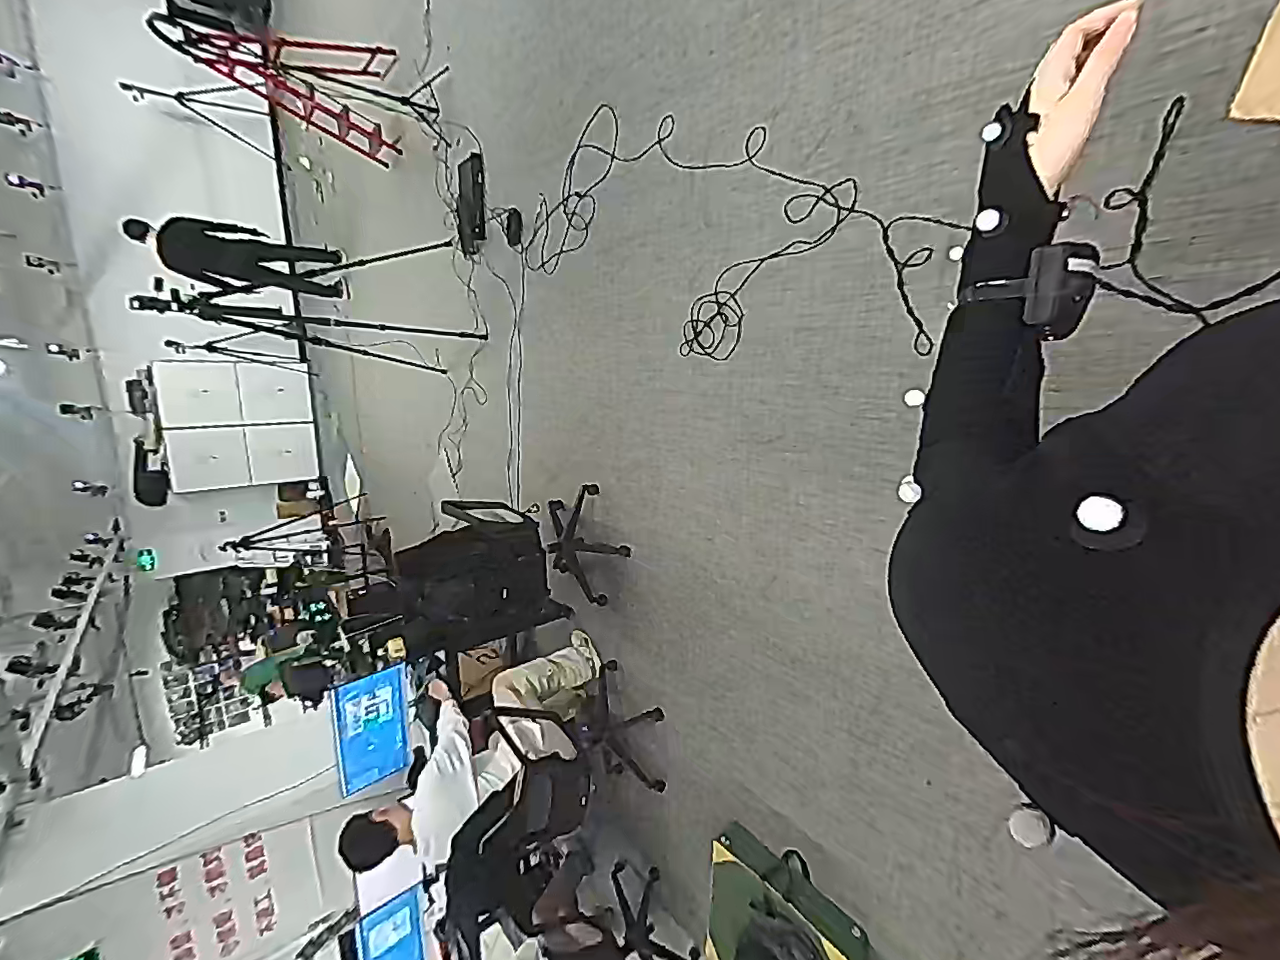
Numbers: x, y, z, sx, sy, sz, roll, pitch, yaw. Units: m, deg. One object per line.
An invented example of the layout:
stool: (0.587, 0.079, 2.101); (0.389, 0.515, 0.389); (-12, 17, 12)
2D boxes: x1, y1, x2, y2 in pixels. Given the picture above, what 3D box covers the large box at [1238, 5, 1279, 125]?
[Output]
large box: (0.635, -0.347, 0.230); (0.408, 0.320, 0.320); (34, 136, 45)
